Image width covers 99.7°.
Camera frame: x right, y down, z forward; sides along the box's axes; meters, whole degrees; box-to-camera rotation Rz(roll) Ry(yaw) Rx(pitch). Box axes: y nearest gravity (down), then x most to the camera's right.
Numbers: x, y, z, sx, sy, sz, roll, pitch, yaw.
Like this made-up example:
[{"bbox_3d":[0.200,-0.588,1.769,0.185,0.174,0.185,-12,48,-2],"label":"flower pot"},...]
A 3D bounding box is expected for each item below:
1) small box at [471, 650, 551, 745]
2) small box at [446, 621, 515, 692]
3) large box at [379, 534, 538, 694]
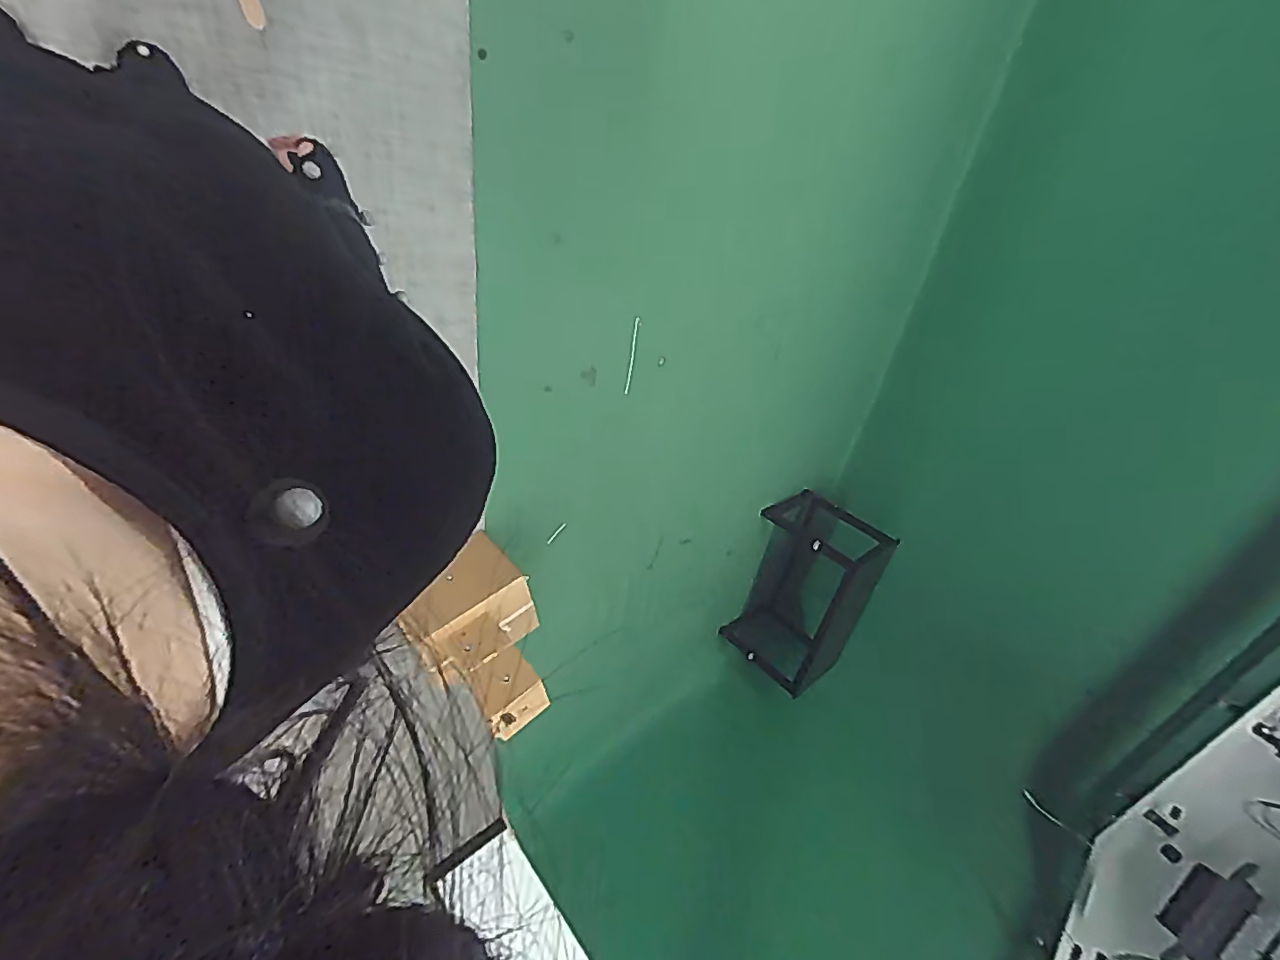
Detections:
[{"bbox_3d":[-0.407,0.674,1.686,0.179,0.176,0.168,-33,138,-28],"label":"small box"},{"bbox_3d":[-0.513,0.595,1.782,0.168,0.176,0.179,-31,138,-28],"label":"small box"},{"bbox_3d":[-0.643,0.471,1.954,0.408,0.320,0.320,-33,140,-29],"label":"large box"}]
